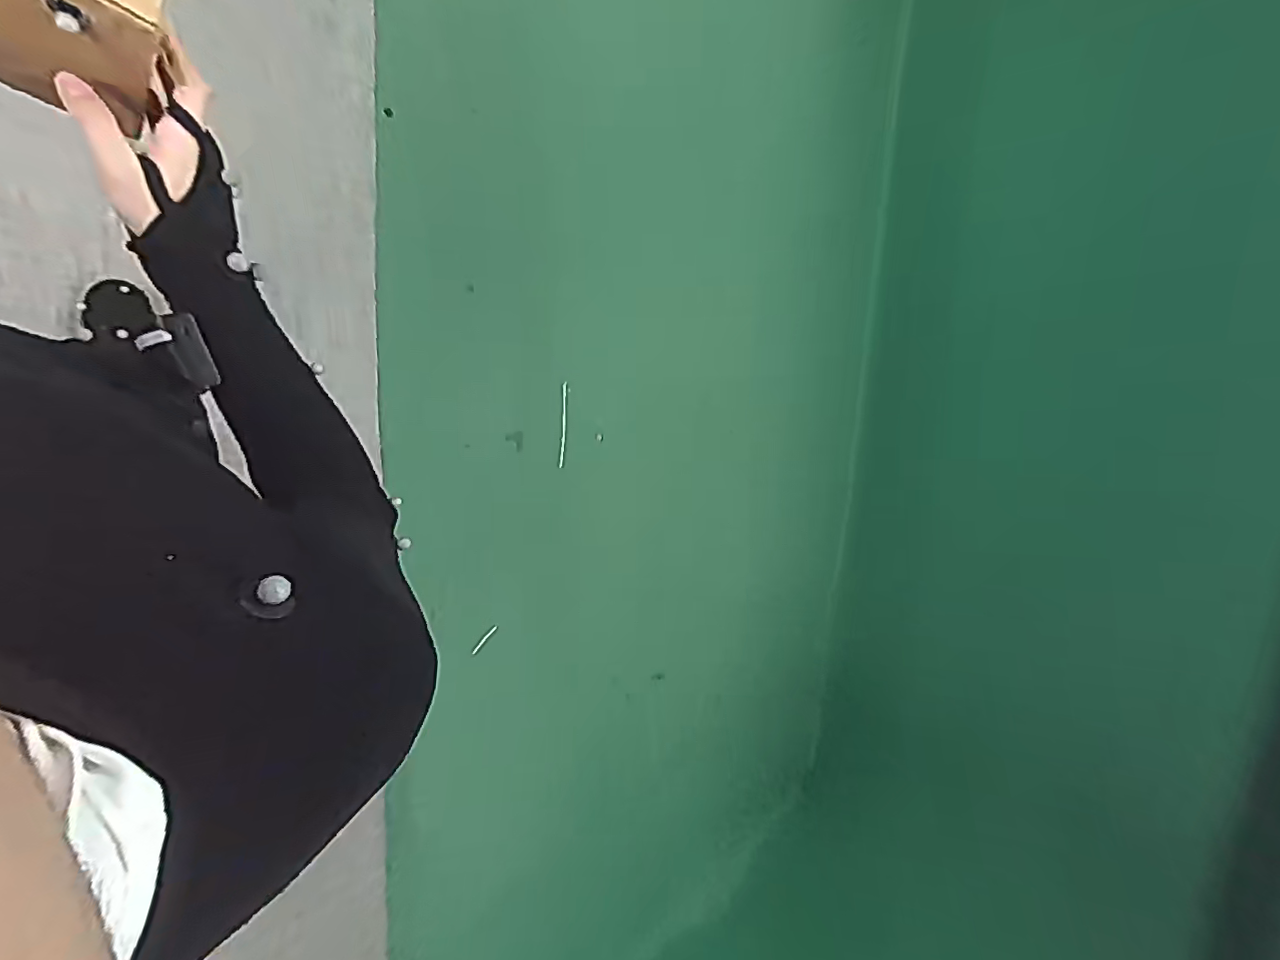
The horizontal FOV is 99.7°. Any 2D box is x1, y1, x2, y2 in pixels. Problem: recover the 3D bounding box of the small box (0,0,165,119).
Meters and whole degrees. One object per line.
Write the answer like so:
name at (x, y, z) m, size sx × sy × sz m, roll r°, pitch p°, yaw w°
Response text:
small box at (-0.407, -0.373, 0.332) m, size 0.179 × 0.176 × 0.168 m, roll 11°, pitch 81°, yaw -46°
